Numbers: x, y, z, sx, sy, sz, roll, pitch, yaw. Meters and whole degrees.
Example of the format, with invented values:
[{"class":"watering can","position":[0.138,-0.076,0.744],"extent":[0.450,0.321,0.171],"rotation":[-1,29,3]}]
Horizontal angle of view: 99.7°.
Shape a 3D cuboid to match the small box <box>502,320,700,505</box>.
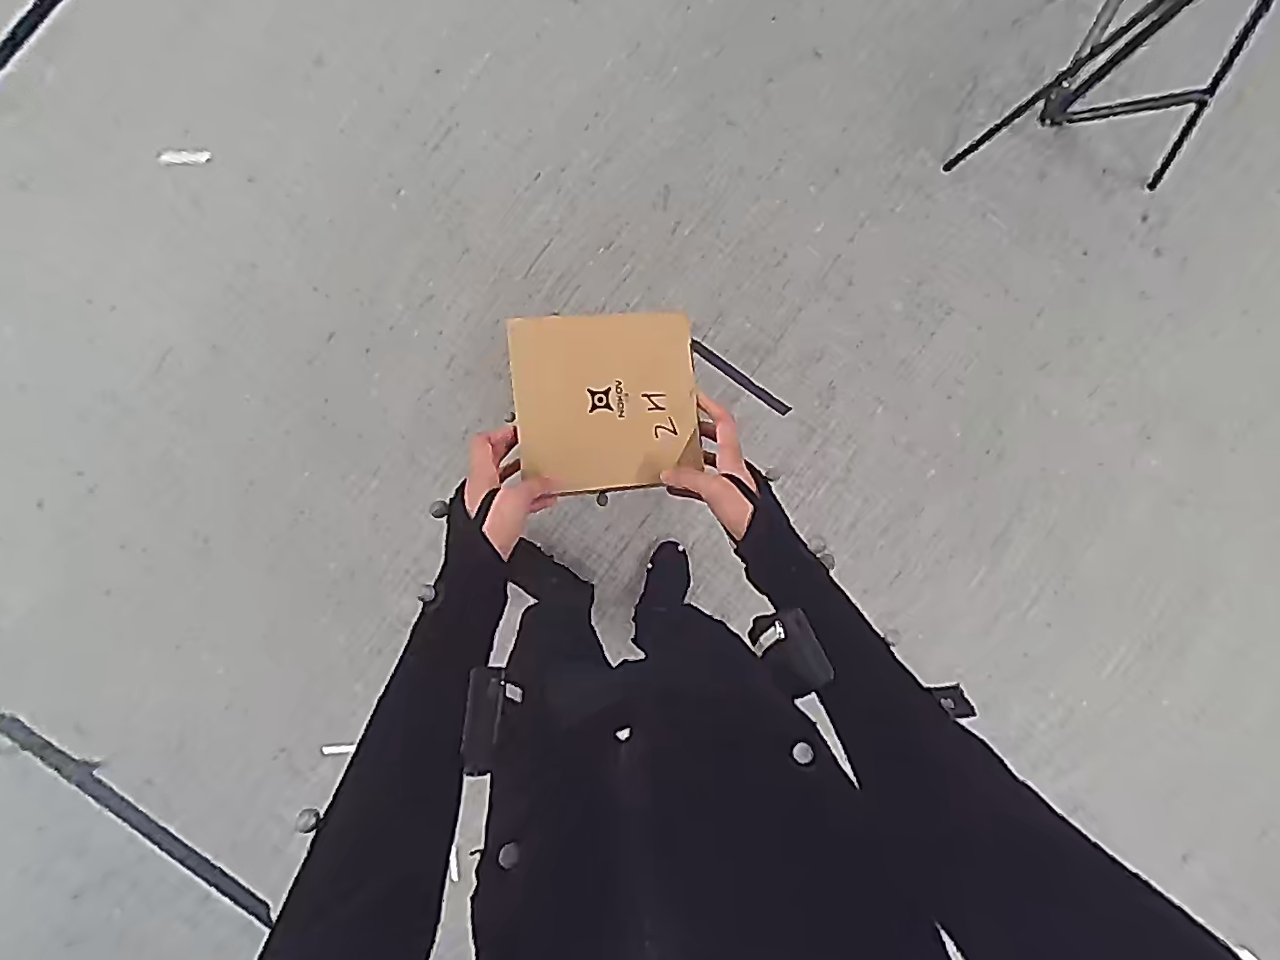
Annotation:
[{"class":"small box","position":[-0.048,-0.062,0.586],"extent":[0.179,0.176,0.168],"rotation":[-6,88,-11]}]
